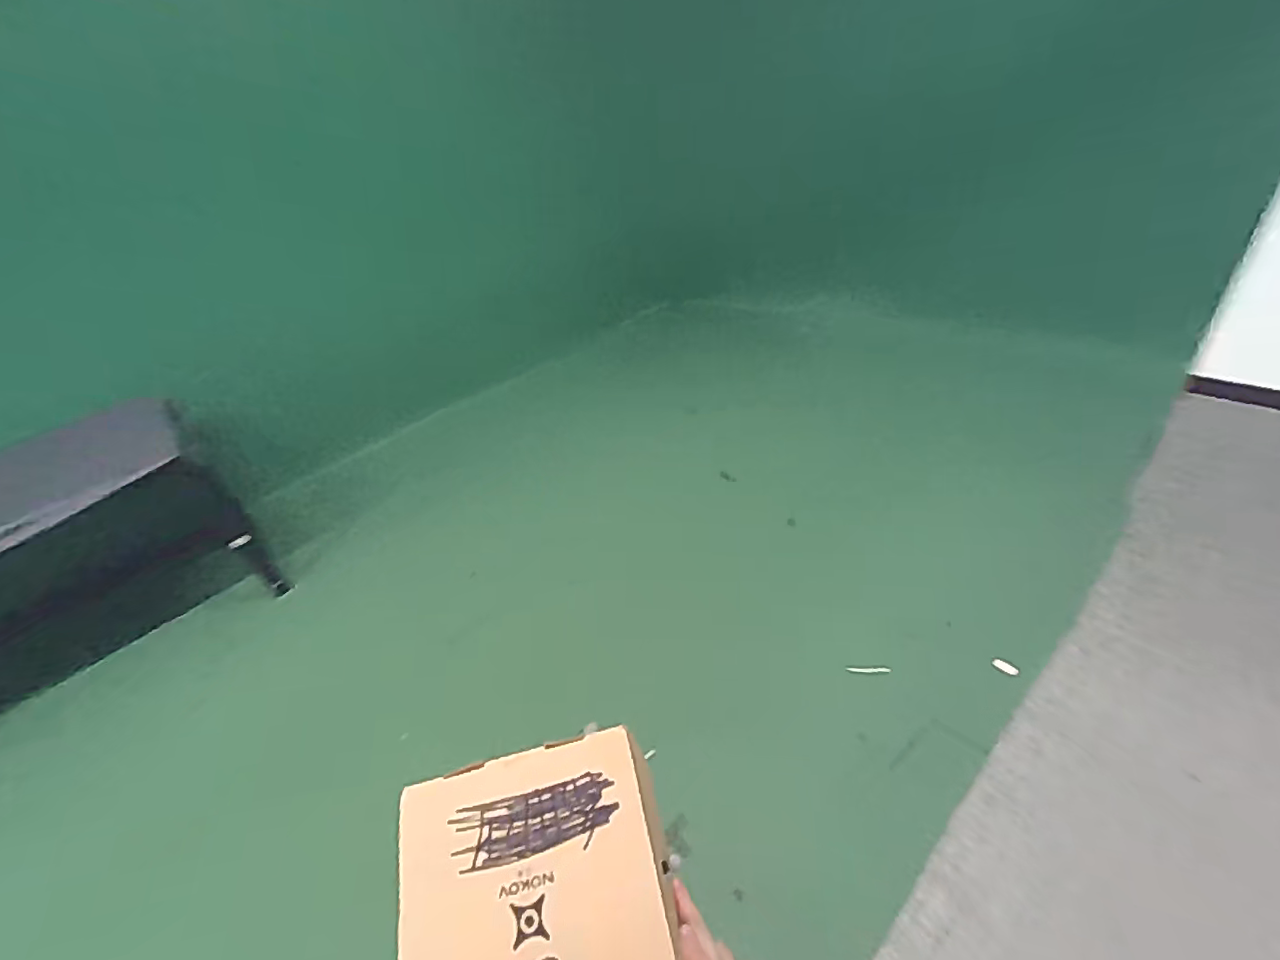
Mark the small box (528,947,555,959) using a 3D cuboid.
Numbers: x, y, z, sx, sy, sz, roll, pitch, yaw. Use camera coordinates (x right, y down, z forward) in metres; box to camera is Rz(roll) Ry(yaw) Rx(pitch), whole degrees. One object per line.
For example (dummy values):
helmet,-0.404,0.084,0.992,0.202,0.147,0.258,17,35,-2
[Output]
small box,-0.184,1.072,1.048,0.168,0.176,0.179,-36,44,-27
